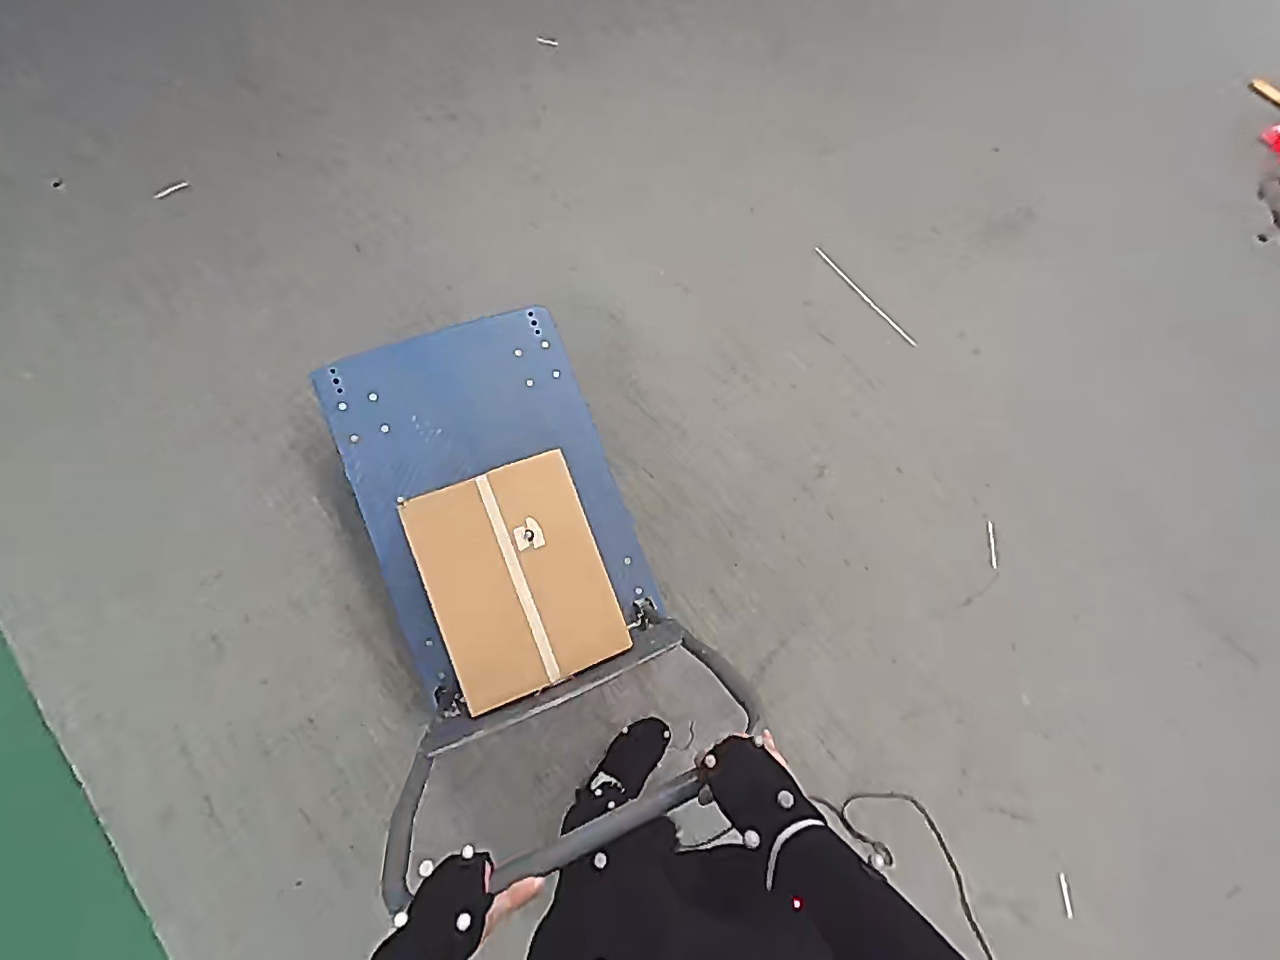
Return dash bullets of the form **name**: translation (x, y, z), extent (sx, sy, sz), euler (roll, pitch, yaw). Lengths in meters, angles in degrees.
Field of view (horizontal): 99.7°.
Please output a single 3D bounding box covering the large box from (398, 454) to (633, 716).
- **large box**: translation (-0.248, 0.204, 1.140), extent (0.320, 0.320, 0.408), euler (-21, 87, -13)
